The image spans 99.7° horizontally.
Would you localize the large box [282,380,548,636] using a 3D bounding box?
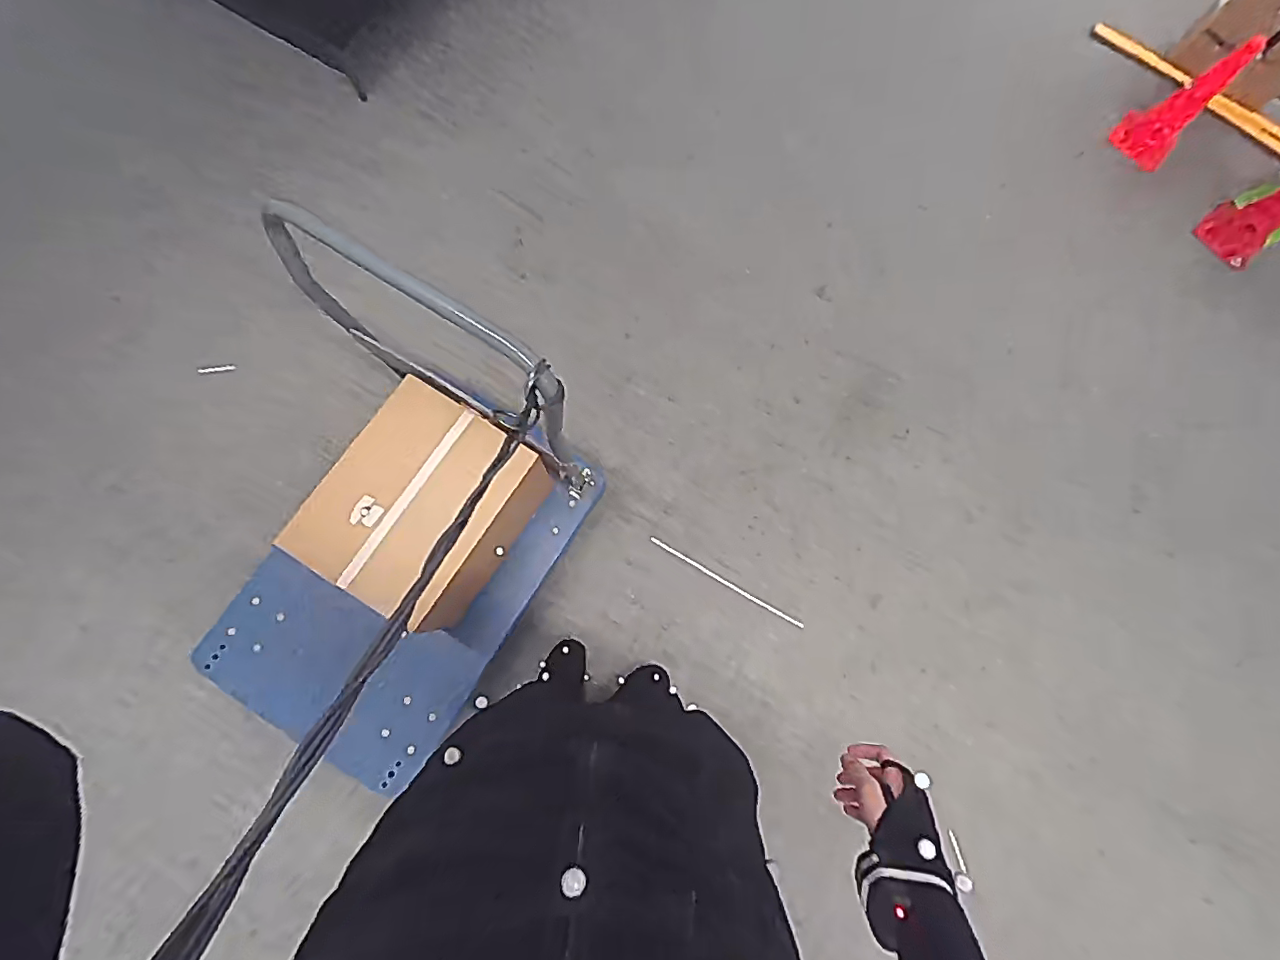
[{"bbox_3d":[-0.441,0.069,1.171,0.320,0.320,0.408,32,78,3],"label":"large box"}]
